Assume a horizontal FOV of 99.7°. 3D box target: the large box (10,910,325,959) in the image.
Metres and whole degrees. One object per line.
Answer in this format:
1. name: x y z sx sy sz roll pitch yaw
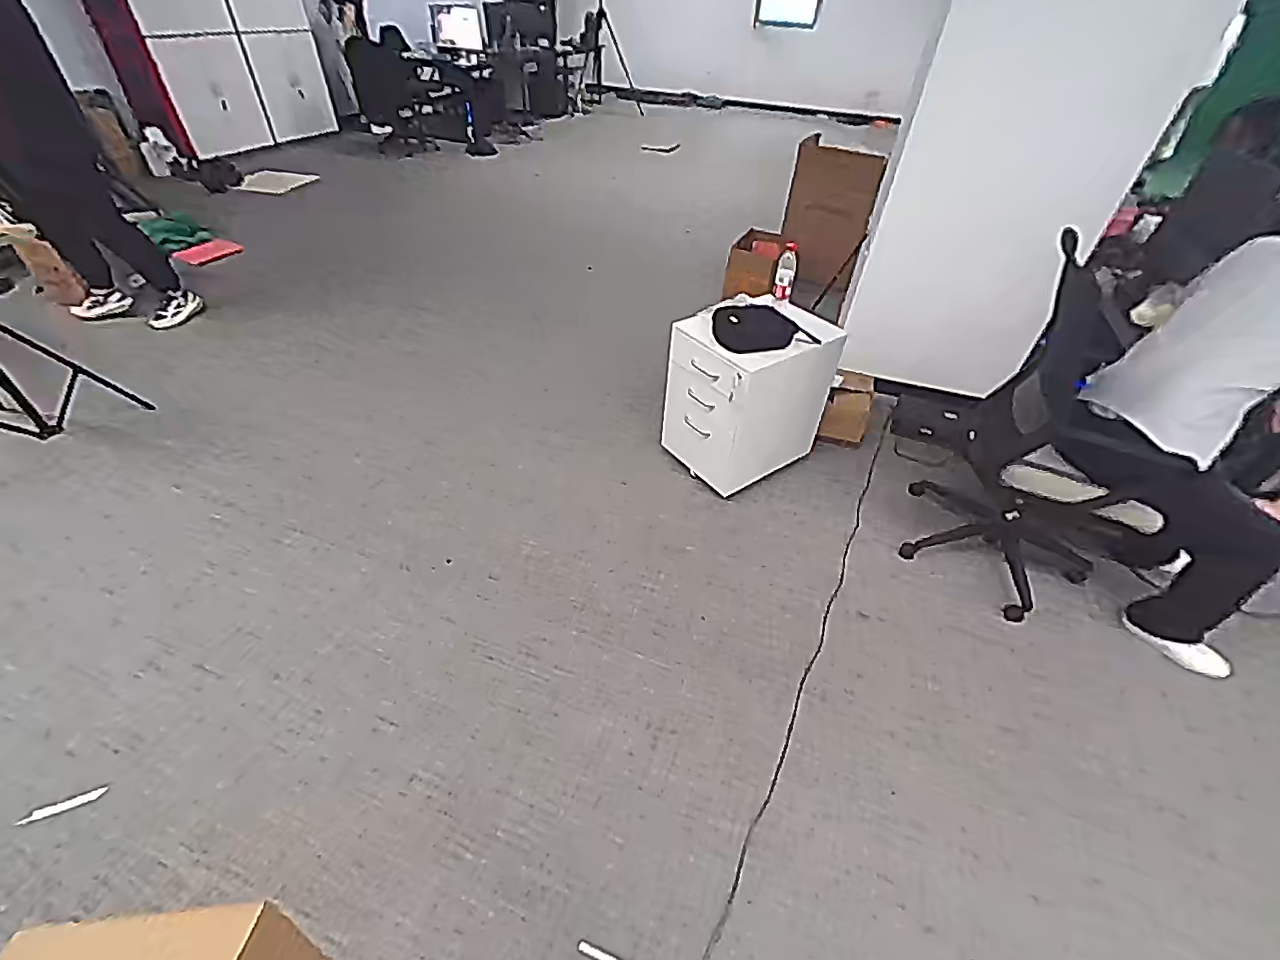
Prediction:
1. large box: -0.530 0.750 0.585 0.320 0.408 0.320 -10 29 4
